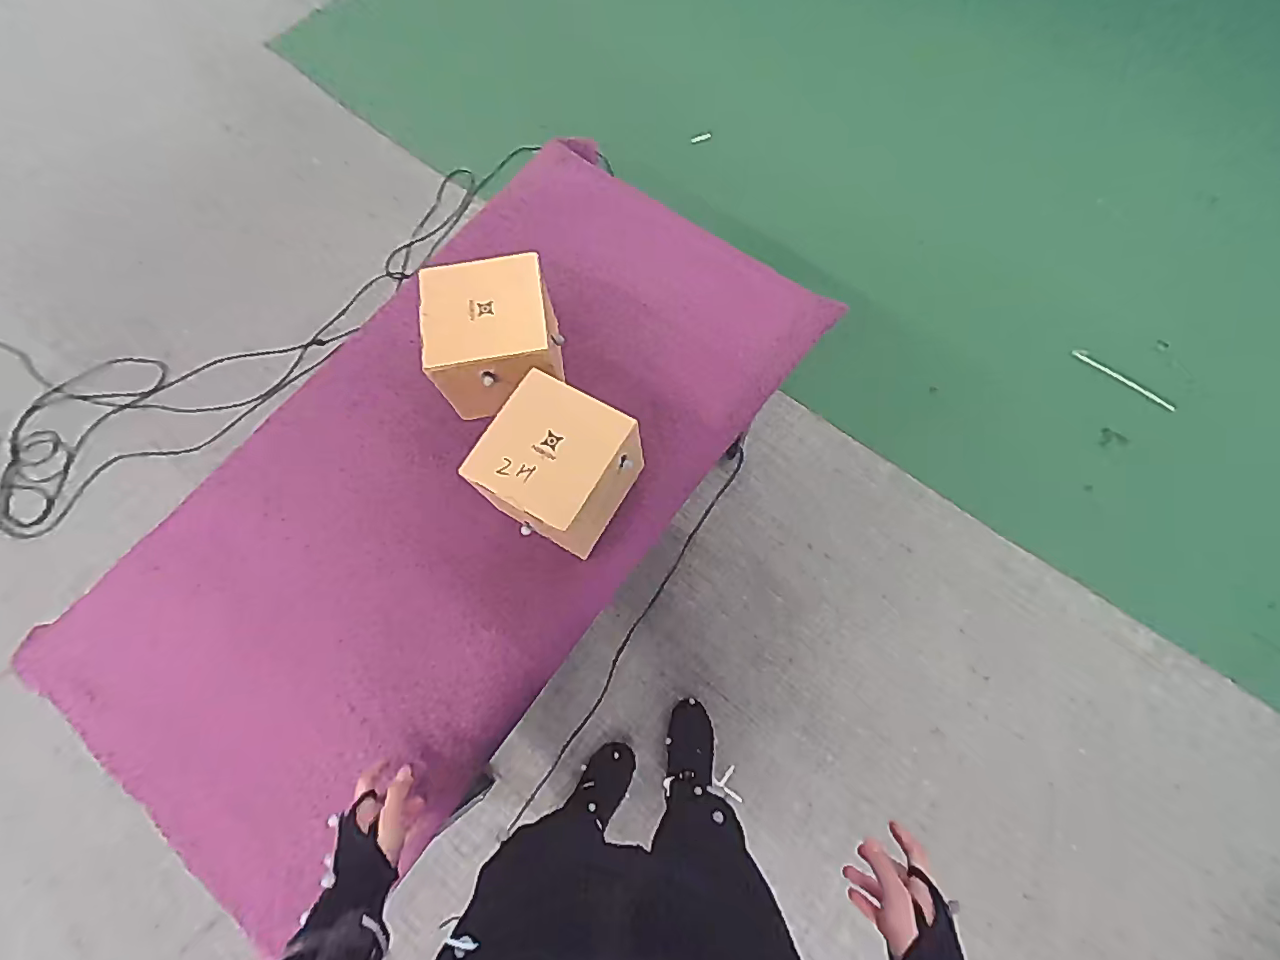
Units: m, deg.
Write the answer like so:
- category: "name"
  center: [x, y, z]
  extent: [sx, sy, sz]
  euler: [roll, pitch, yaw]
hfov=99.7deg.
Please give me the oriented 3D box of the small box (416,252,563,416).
- category: "small box"
  center: [-0.219, -0.214, 0.828]
  extent: [0.179, 0.176, 0.168]
  euler: [-10, 73, 0]

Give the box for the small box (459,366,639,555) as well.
- category: "small box"
  center: [-0.112, -0.019, 0.755]
  extent: [0.168, 0.176, 0.179]
  euler: [28, 76, 13]
